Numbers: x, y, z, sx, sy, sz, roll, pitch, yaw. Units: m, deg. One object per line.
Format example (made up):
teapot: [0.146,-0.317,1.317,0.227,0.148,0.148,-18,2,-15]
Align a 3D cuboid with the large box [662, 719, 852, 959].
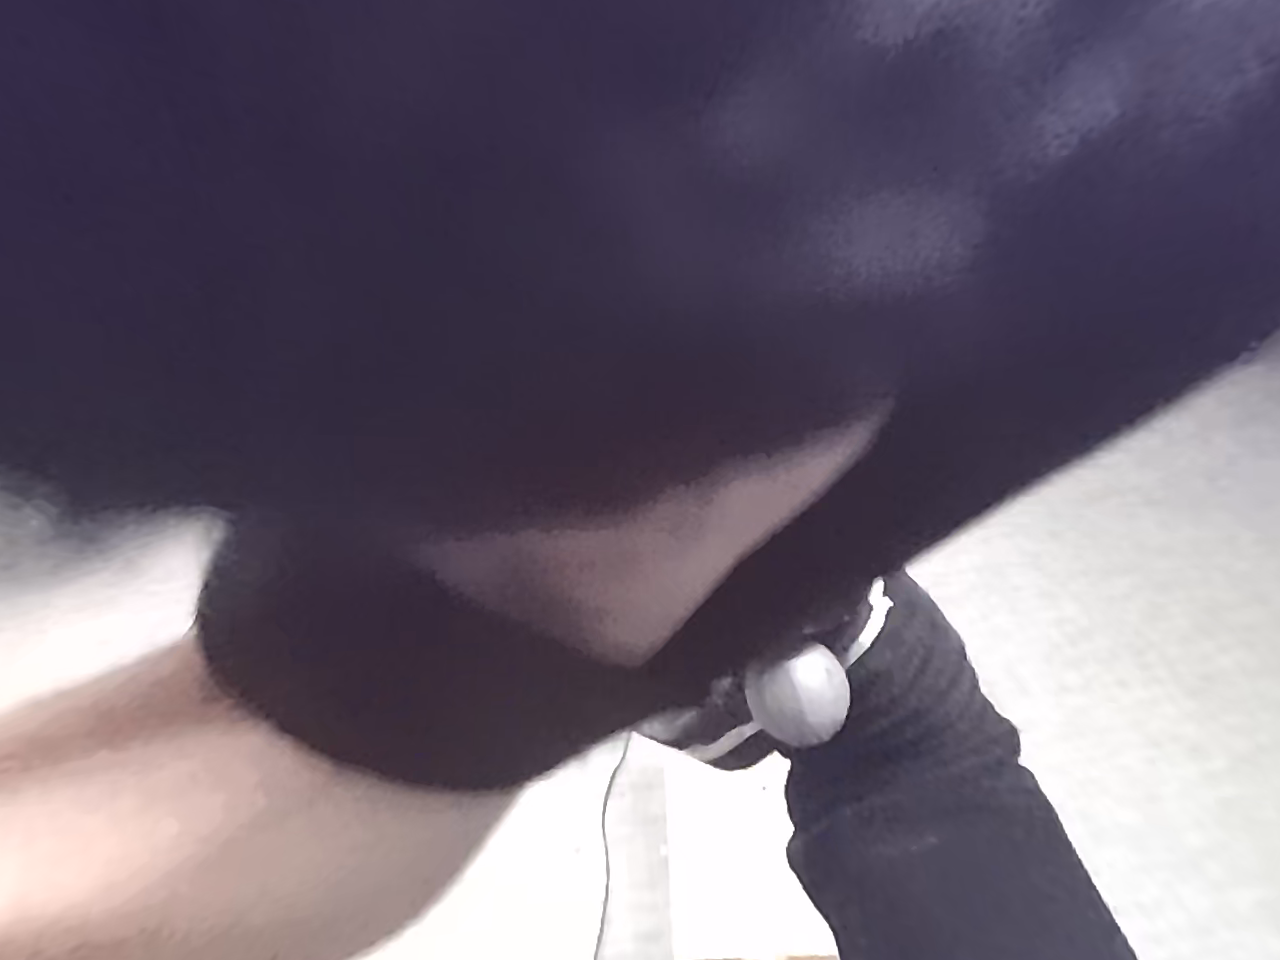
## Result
large box: [0.217,0.790,1.166,0.320,0.320,0.408,-2,41,1]
